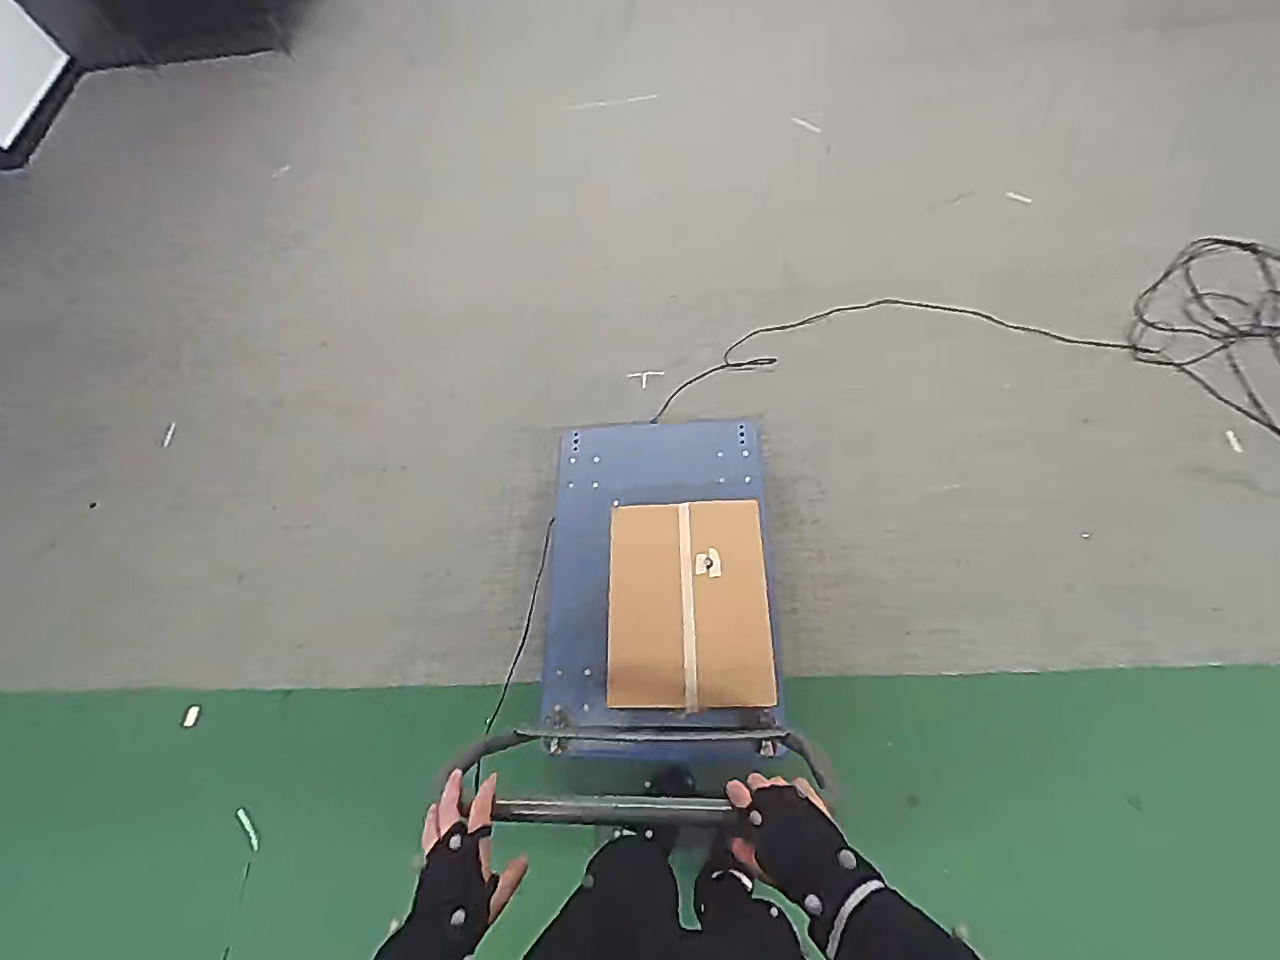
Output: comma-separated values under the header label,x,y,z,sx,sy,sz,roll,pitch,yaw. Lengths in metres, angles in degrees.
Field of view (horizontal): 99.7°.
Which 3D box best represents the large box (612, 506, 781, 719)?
label,x,y,z,sx,sy,sz,roll,pitch,yaw
large box,0.117,0.306,1.199,0.320,0.320,0.408,-2,64,5
